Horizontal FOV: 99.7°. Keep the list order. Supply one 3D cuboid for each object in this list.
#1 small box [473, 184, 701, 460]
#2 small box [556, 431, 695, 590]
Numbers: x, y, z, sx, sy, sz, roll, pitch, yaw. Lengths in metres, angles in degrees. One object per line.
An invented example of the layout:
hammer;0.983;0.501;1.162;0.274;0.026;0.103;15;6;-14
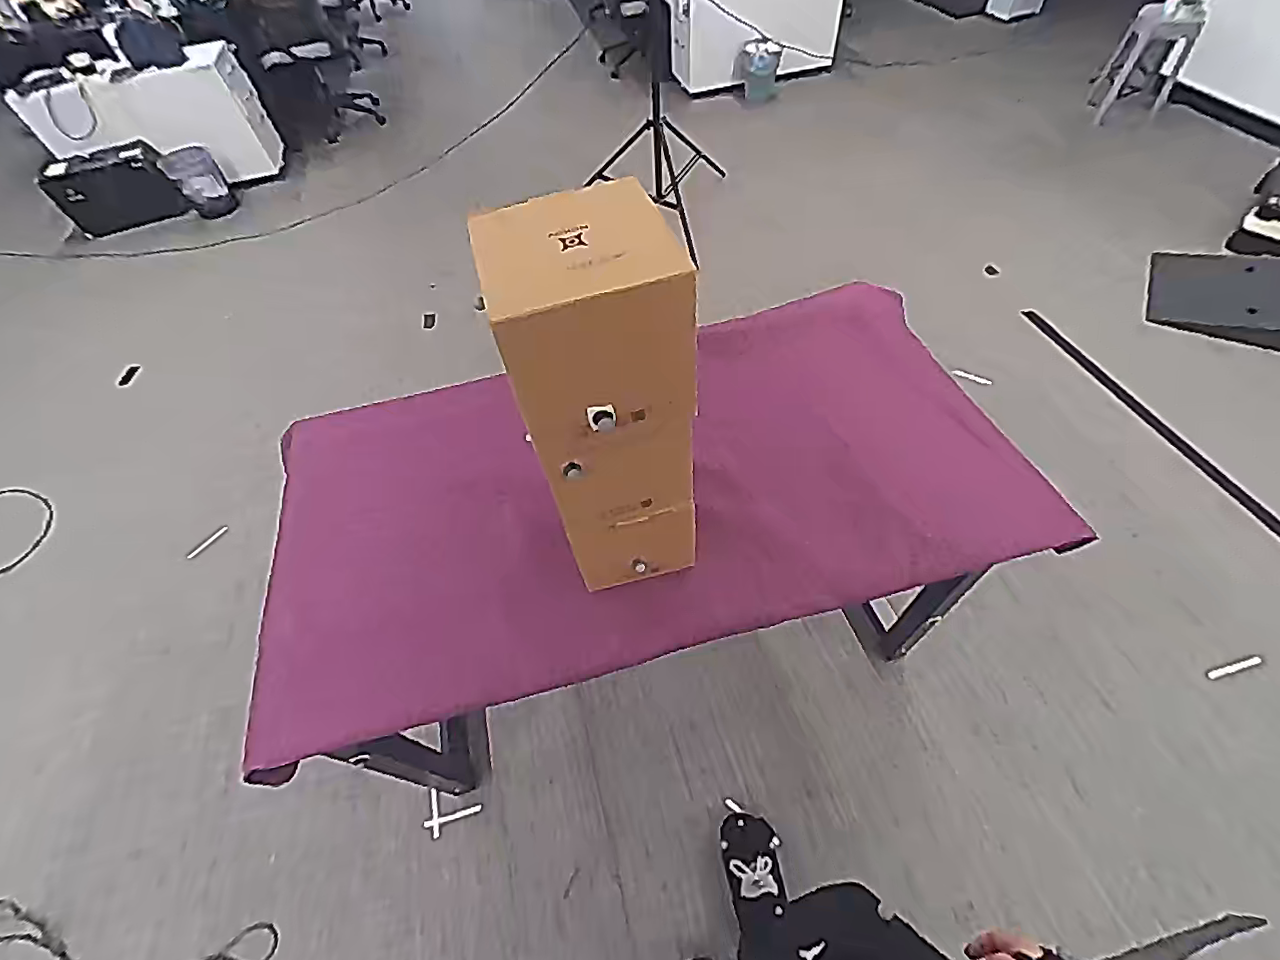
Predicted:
small box;-0.048;-0.149;0.524;0.168;0.176;0.179;-17;54;-6
small box;-0.022;0.035;0.793;0.168;0.176;0.179;-13;53;-4
